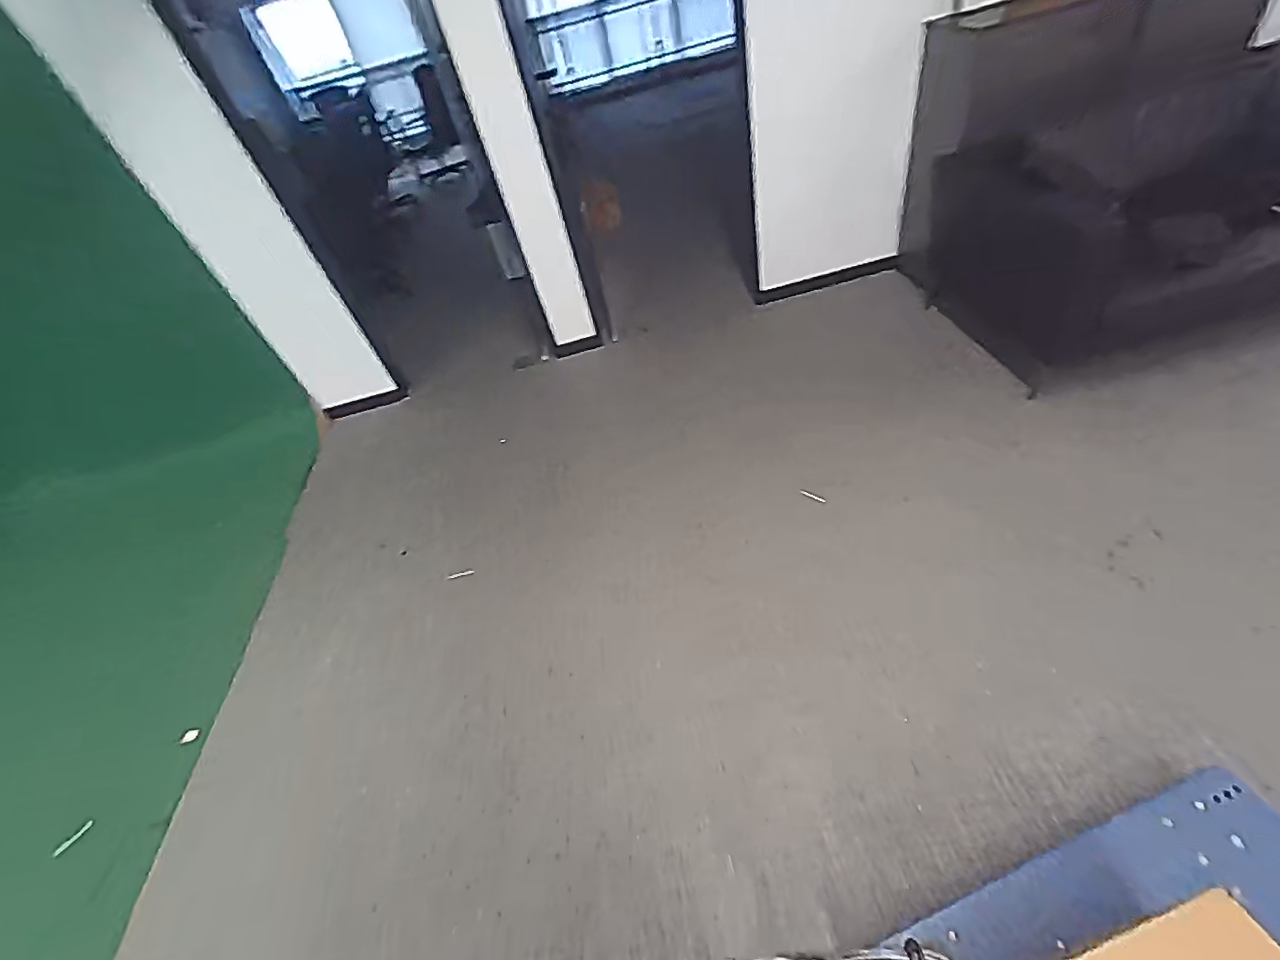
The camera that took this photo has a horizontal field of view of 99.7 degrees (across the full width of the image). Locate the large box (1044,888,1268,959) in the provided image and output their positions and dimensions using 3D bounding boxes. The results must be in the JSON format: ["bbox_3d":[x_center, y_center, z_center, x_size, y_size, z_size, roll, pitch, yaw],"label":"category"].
[{"bbox_3d":[0.734,0.882,0.783,0.408,0.320,0.320,-20,44,-6],"label":"large box"}]
